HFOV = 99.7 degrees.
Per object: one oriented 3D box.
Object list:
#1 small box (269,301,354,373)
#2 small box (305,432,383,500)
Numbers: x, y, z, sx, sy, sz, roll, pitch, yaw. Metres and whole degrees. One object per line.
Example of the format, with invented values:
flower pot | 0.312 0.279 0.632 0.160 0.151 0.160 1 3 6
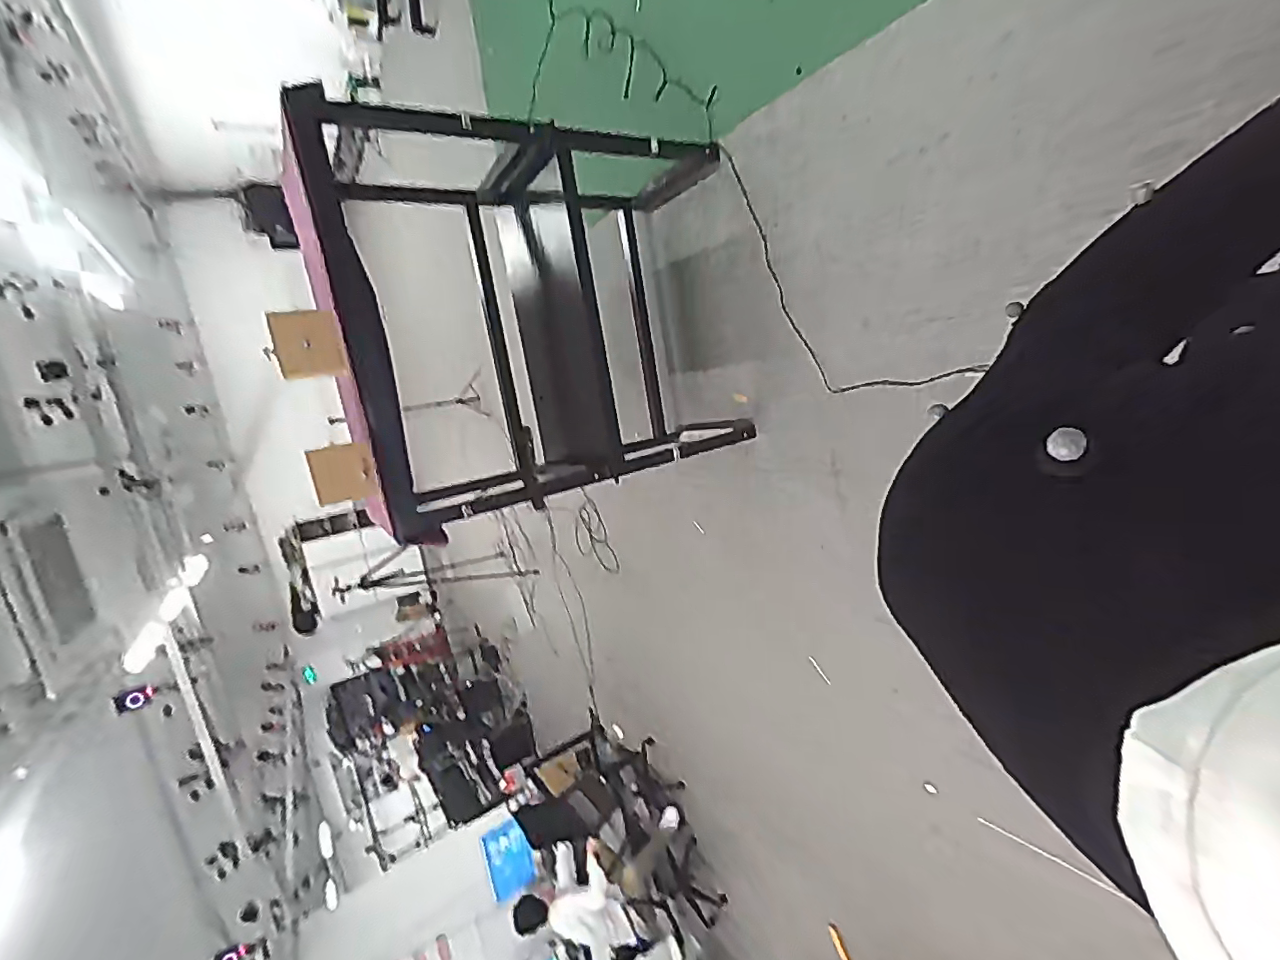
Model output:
small box | -0.932 -0.406 1.536 0.168 0.176 0.179 10 113 57
small box | -0.867 -0.047 1.590 0.179 0.176 0.168 4 107 58
